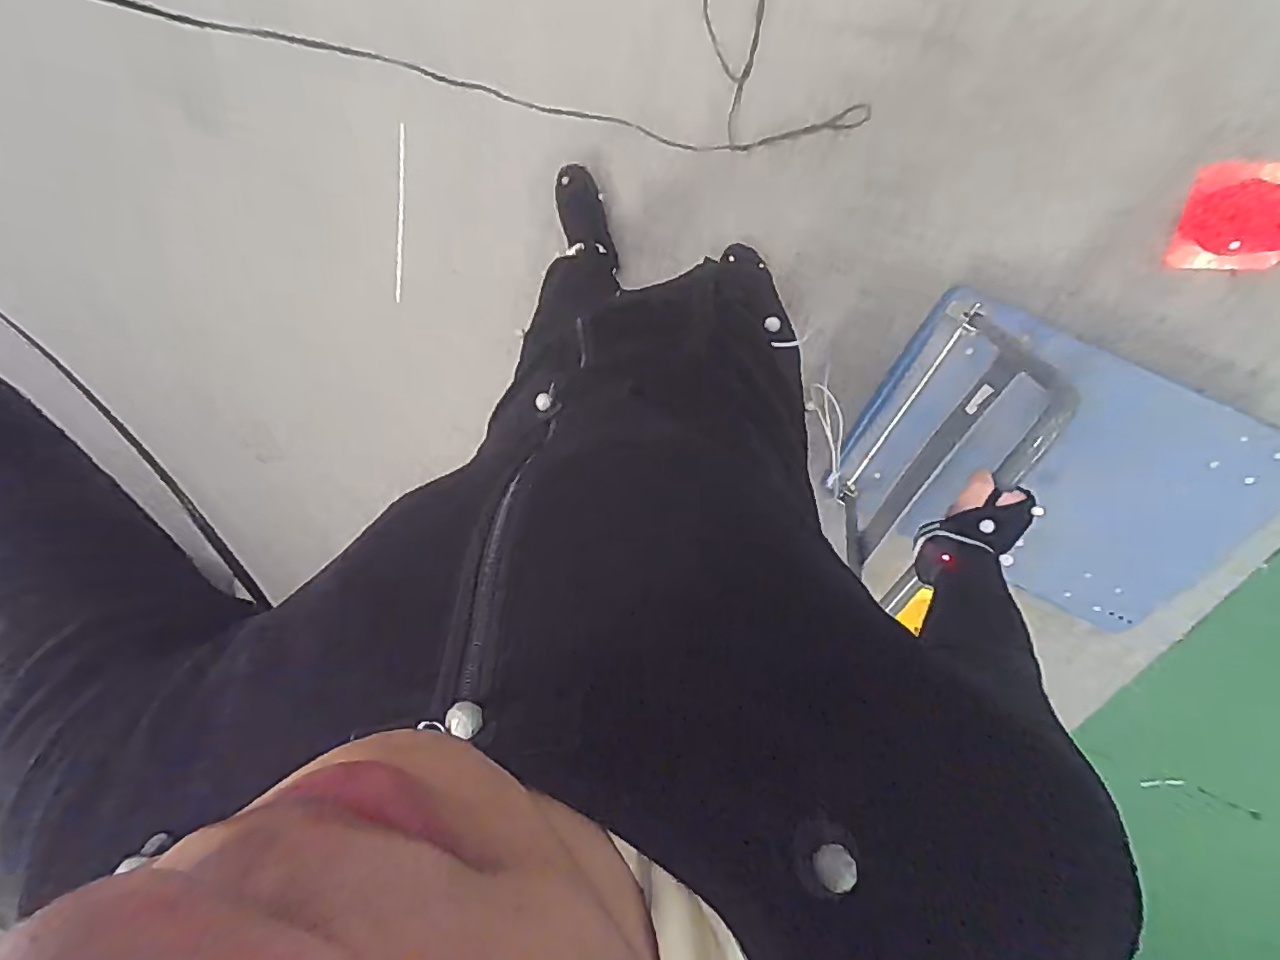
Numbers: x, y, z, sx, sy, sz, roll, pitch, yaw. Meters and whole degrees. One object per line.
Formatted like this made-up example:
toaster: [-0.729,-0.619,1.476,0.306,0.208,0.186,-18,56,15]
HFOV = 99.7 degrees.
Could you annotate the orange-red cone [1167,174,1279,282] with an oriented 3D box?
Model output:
orange-red cone: [1.197,-0.445,0.968,0.198,0.360,0.199,8,117,11]
